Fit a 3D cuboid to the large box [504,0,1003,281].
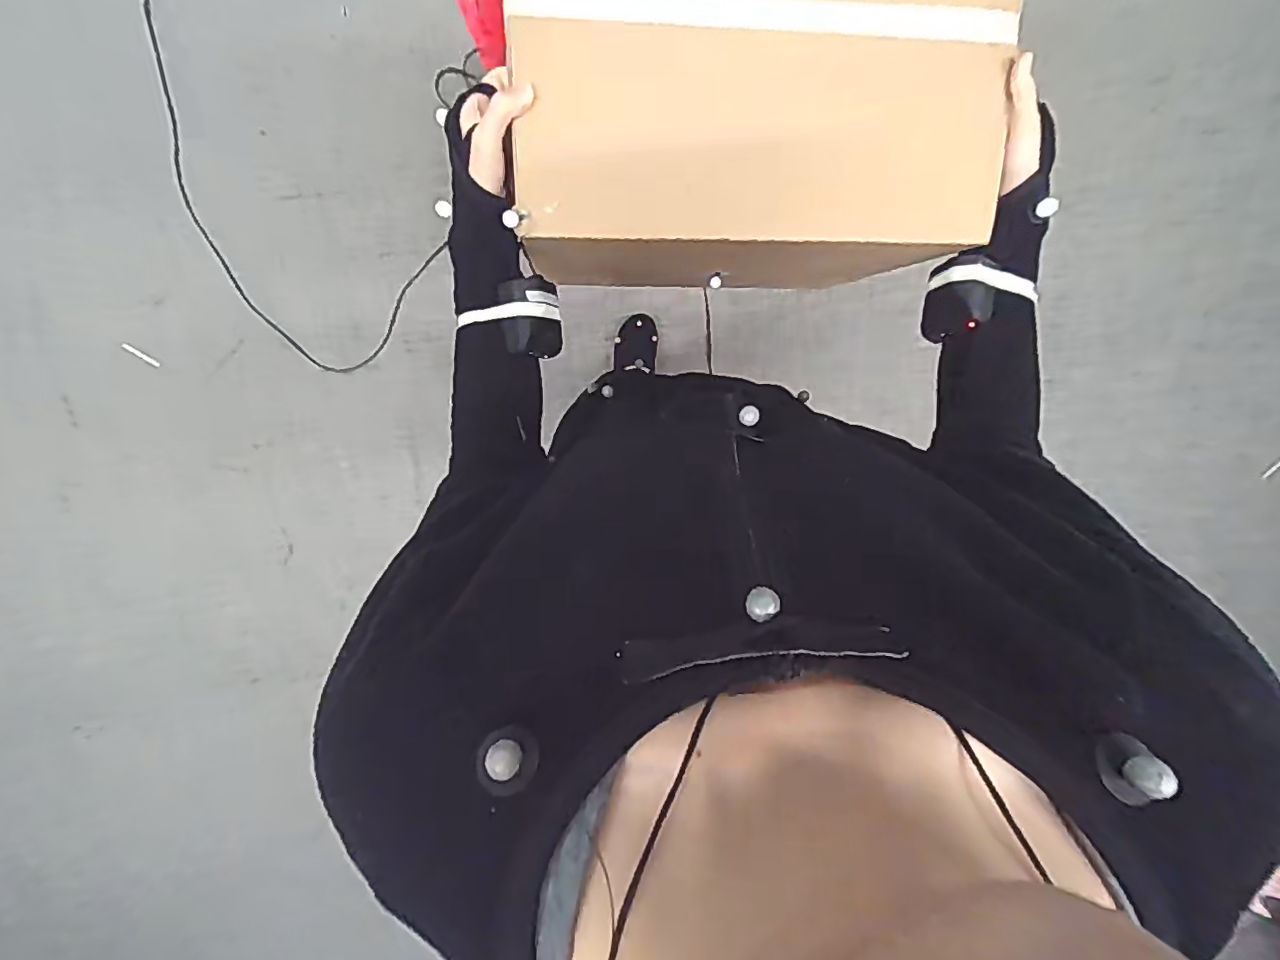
[{"bbox_3d":[0.082,-0.387,0.570,0.408,0.320,0.320,-2,103,-6],"label":"large box"}]
